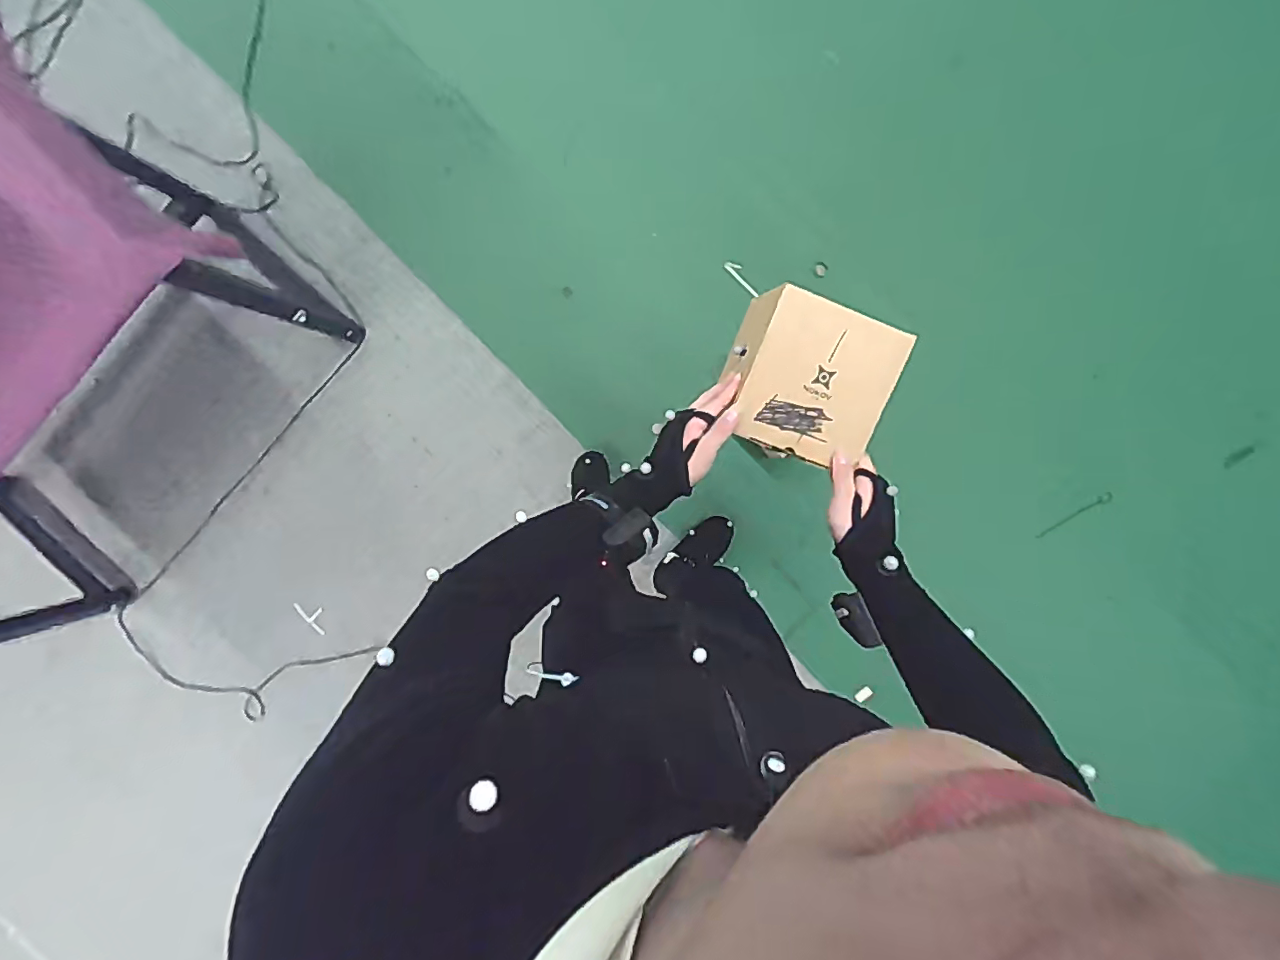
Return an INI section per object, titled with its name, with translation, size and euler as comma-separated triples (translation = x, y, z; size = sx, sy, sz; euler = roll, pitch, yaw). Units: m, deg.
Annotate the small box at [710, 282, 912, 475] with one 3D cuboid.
[small box]
translation = 0.199, -0.127, 0.689
size = 0.168, 0.176, 0.179
euler = 19, 101, -6
